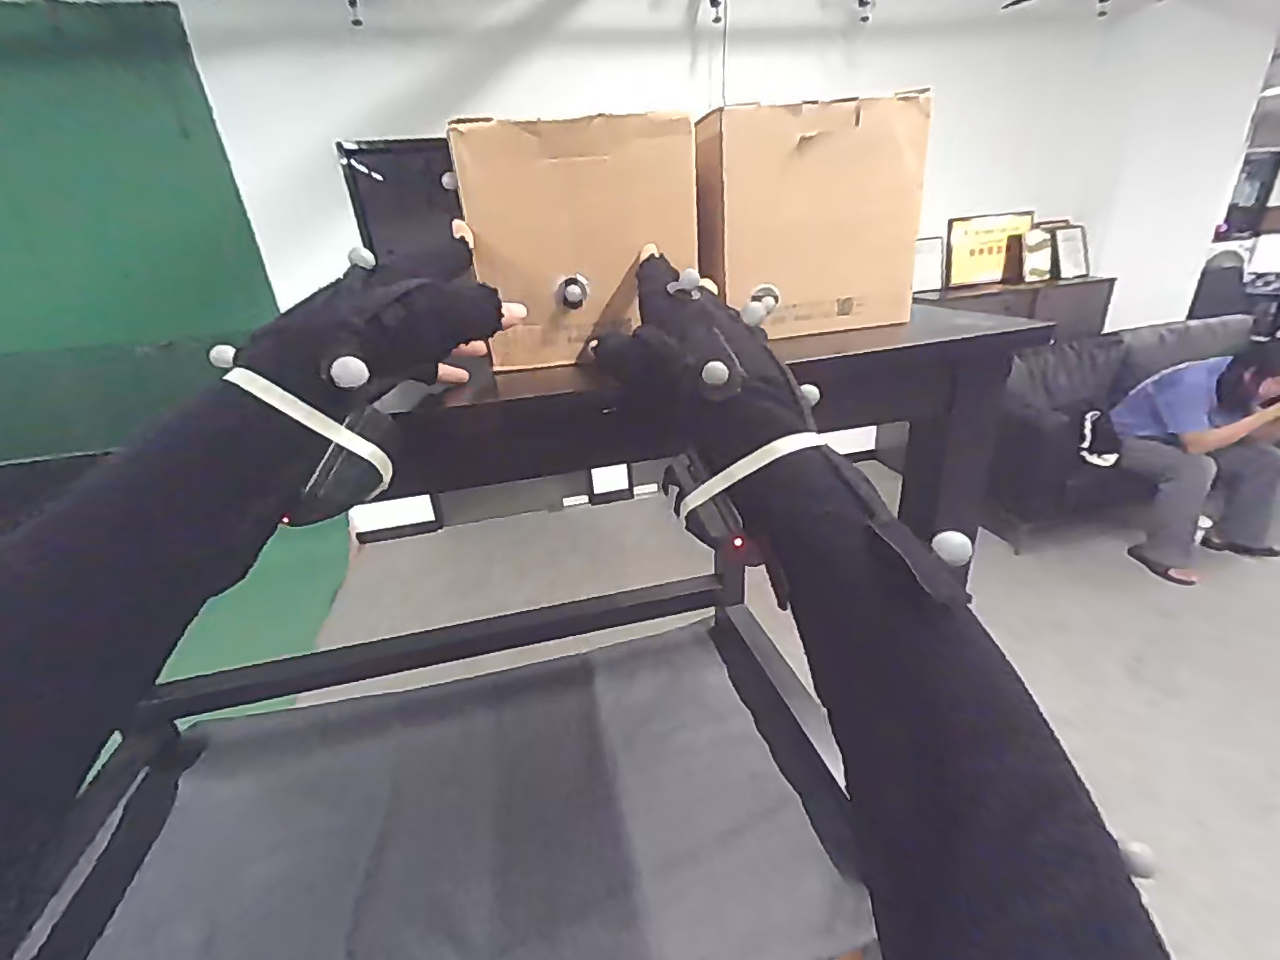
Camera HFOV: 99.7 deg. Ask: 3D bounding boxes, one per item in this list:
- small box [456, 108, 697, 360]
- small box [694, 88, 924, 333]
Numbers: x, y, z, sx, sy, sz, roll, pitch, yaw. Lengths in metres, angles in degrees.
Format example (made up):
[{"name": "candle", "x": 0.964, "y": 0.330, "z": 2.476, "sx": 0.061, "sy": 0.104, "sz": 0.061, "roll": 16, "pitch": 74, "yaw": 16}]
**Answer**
[{"name": "small box", "x": -0.050, "y": -0.205, "z": 0.474, "sx": 0.168, "sy": 0.176, "sz": 0.179, "roll": -7, "pitch": 24, "yaw": -7}, {"name": "small box", "x": 0.128, "y": -0.234, "z": 0.500, "sx": 0.168, "sy": 0.176, "sz": 0.179, "roll": -8, "pitch": 23, "yaw": -8}]
